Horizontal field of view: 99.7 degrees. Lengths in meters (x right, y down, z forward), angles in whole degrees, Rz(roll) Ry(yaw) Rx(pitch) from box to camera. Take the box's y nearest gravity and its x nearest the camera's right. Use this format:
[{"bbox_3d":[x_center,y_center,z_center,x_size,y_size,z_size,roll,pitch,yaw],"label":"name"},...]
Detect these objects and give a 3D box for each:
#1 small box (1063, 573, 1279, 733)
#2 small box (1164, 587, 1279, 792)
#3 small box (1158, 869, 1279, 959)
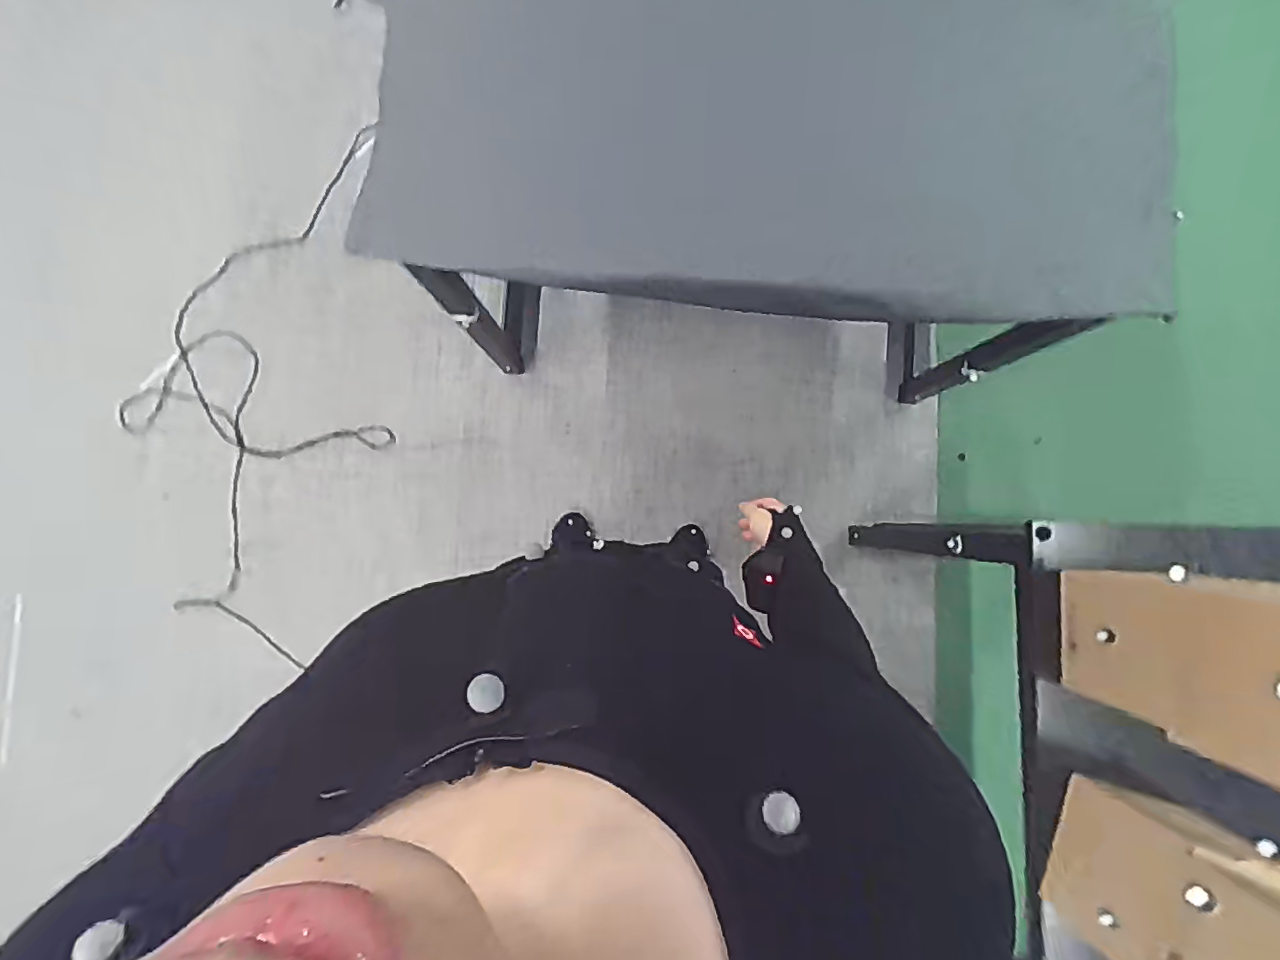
[{"bbox_3d":[0.680,0.211,0.684,0.179,0.176,0.168,2,87,0],"label":"small box"},{"bbox_3d":[0.663,0.206,0.522,0.168,0.176,0.179,2,86,1],"label":"small box"},{"bbox_3d":[0.641,0.510,0.500,0.179,0.176,0.168,21,87,1],"label":"small box"}]
